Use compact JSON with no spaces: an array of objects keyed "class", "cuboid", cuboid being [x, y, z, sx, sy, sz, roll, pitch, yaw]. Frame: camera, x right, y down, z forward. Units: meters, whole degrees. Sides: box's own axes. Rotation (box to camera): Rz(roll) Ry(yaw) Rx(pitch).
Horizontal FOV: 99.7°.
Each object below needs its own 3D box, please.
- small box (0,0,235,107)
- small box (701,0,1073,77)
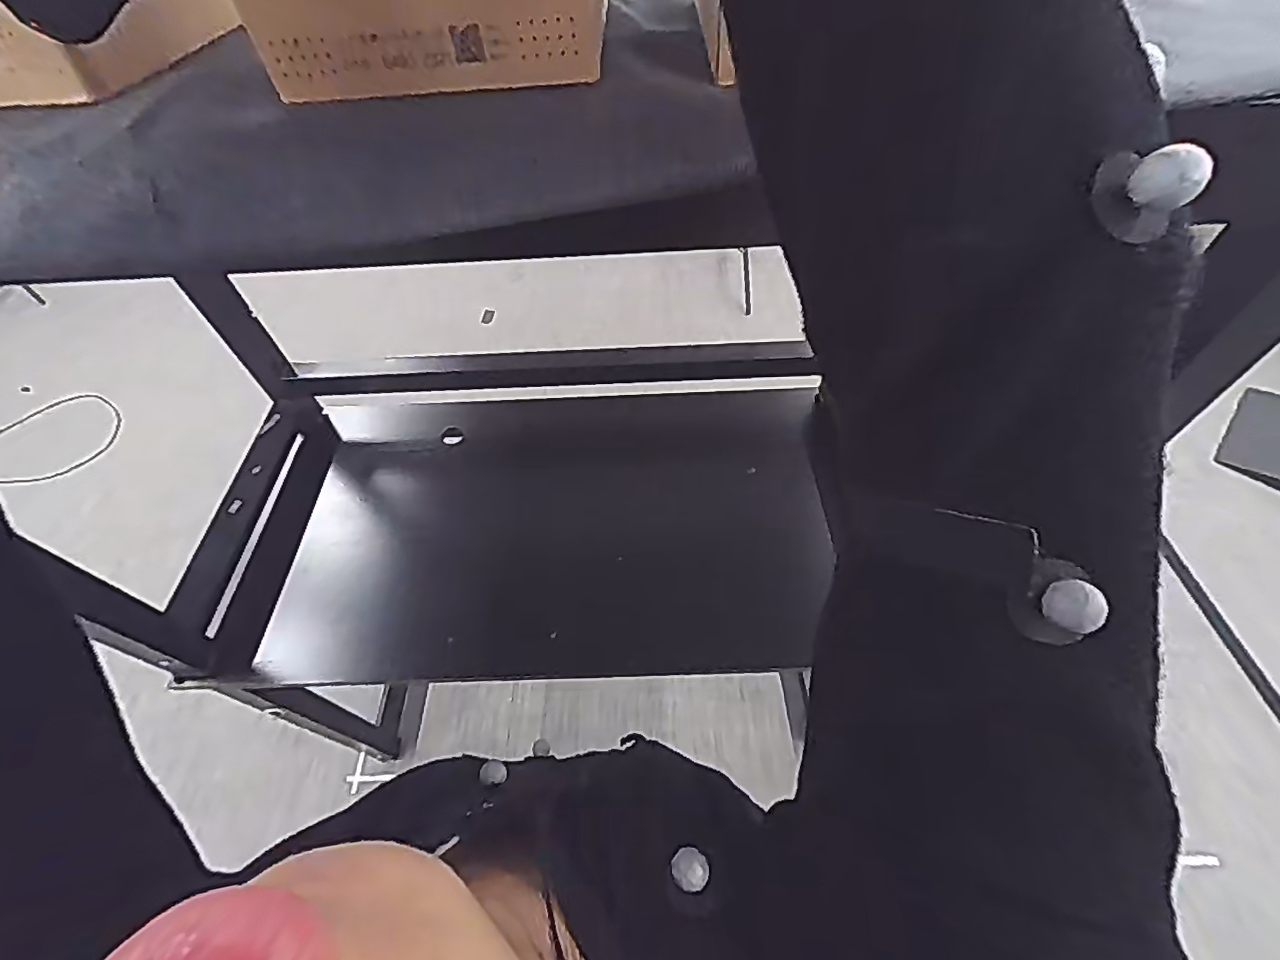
[{"class":"small box","cuboid":[-0.365,-0.313,0.278,0.168,0.176,0.179,0,52,2]},{"class":"small box","cuboid":[0.116,-0.317,0.255,0.168,0.176,0.179,-3,52,3]}]
